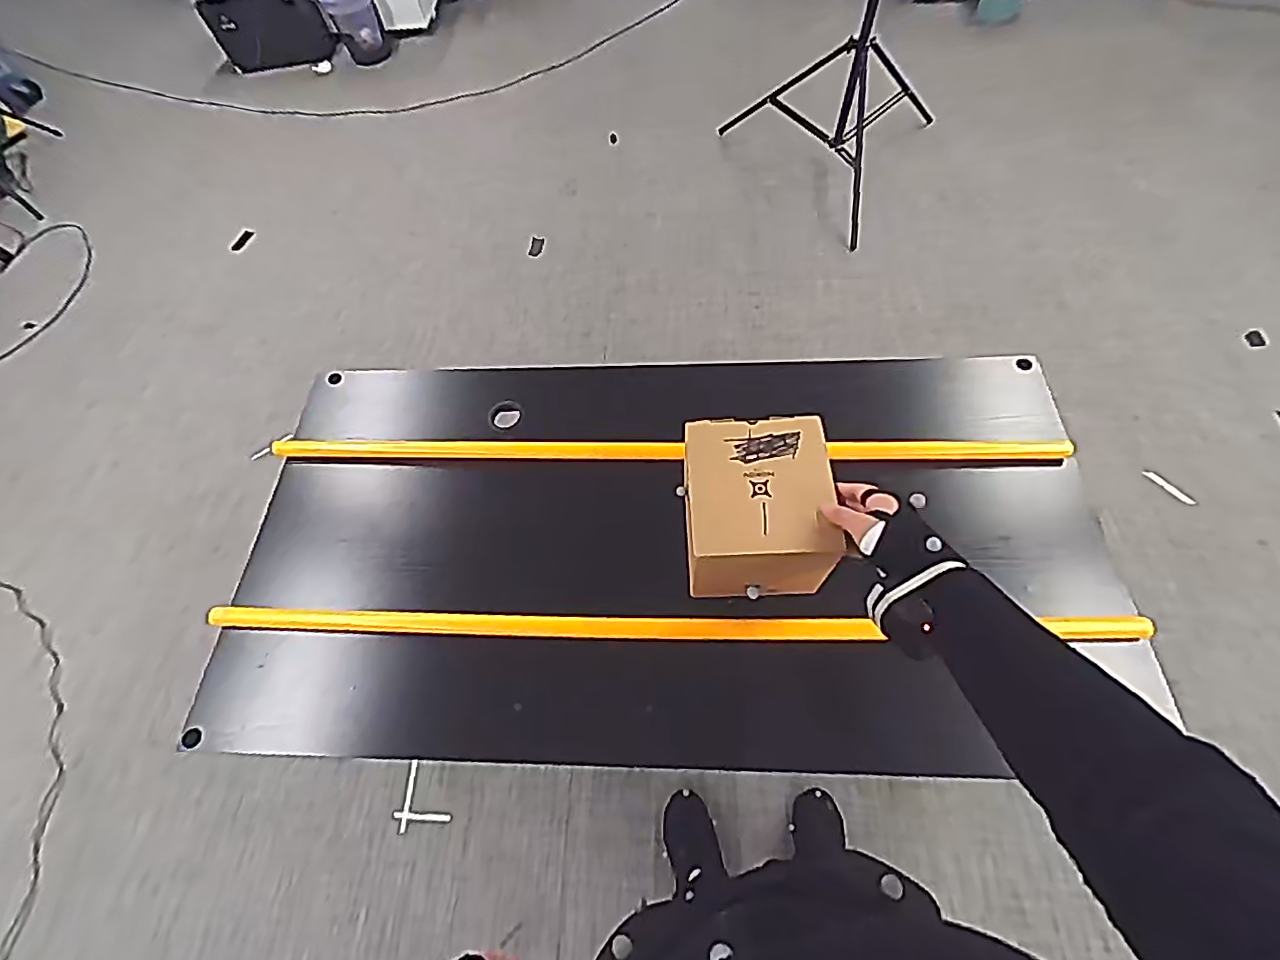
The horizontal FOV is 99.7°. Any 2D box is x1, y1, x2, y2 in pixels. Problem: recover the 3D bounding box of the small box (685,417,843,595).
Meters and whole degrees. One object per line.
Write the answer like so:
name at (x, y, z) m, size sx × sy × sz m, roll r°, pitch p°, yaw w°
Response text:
small box at (0.145, 0.039, 0.698) m, size 0.168 × 0.176 × 0.179 m, roll -3°, pitch 63°, yaw 4°
